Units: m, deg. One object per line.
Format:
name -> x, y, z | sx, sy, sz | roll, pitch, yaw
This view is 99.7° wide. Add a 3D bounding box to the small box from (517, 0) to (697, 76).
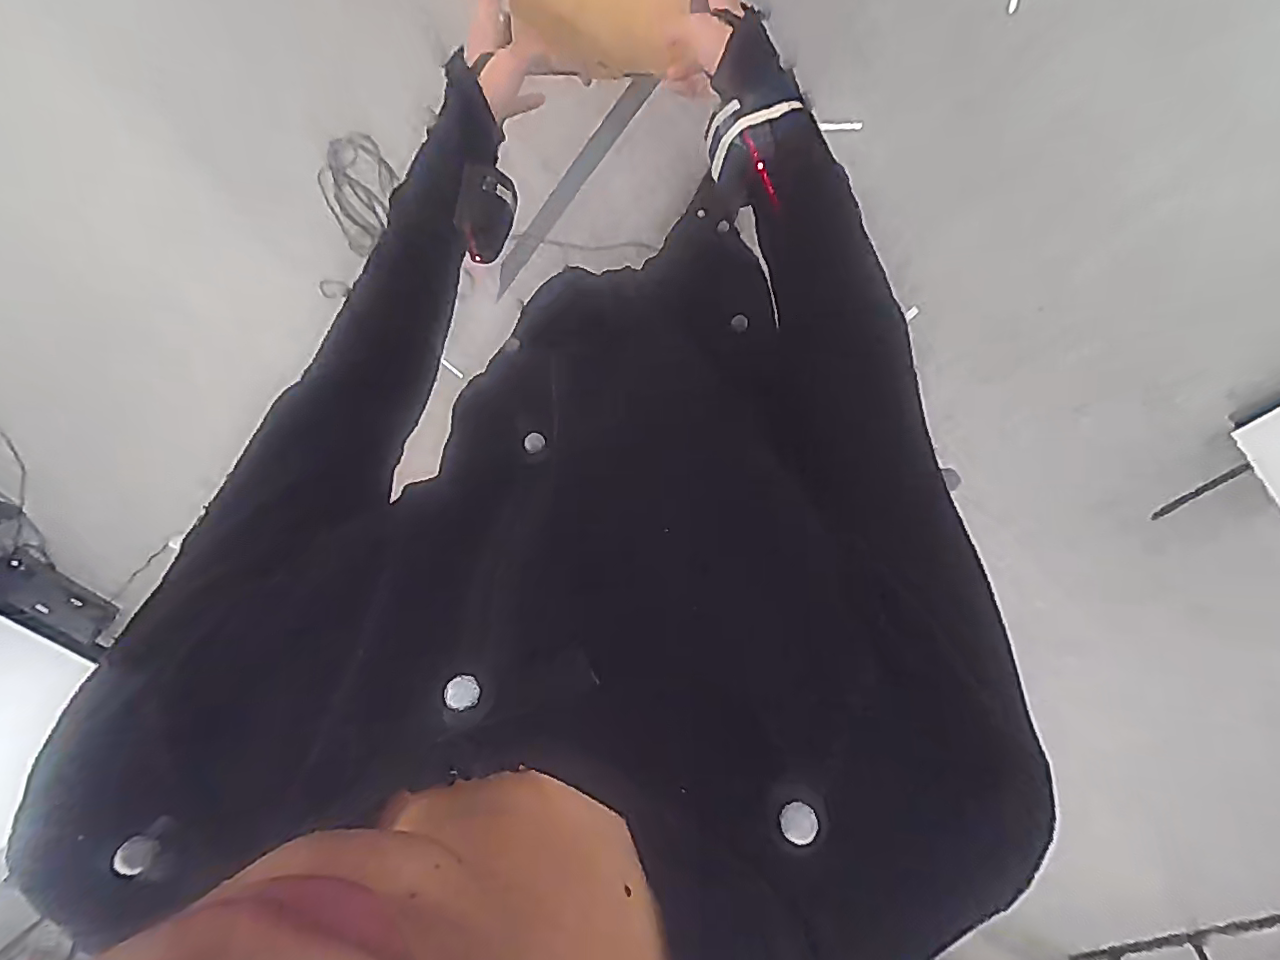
small box -> -0.036, -0.508, 0.525 | 0.168, 0.176, 0.179 | -2, 129, -6
